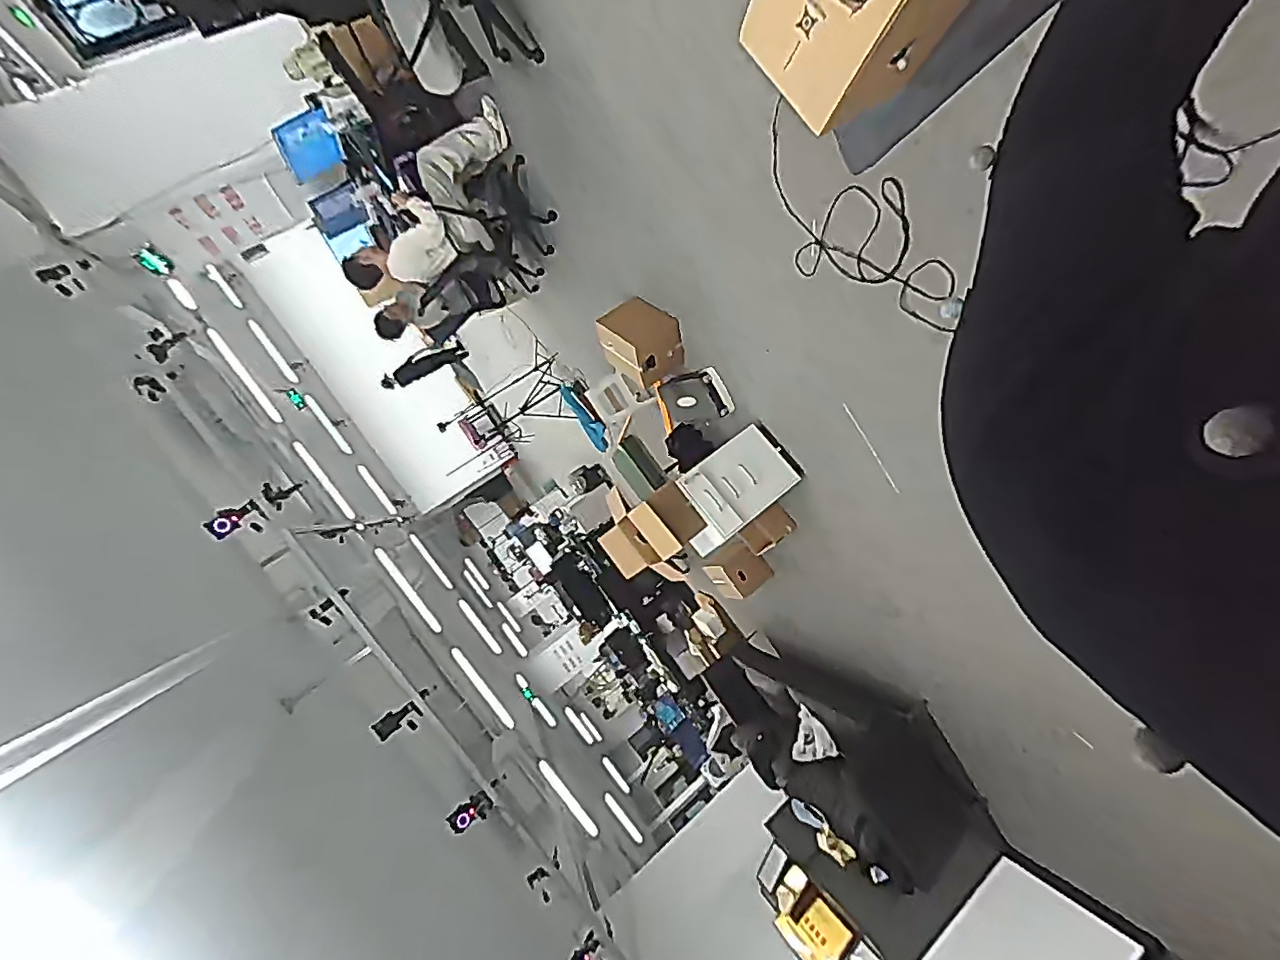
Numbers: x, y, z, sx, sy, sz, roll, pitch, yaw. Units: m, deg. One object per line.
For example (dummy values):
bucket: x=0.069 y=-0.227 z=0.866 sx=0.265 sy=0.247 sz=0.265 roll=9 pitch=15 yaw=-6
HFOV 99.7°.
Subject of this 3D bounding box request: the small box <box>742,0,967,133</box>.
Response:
small box: x=0.253 y=-0.552 z=0.607 sx=0.168 sy=0.176 sz=0.179 roll=53 pitch=165 yaw=2
